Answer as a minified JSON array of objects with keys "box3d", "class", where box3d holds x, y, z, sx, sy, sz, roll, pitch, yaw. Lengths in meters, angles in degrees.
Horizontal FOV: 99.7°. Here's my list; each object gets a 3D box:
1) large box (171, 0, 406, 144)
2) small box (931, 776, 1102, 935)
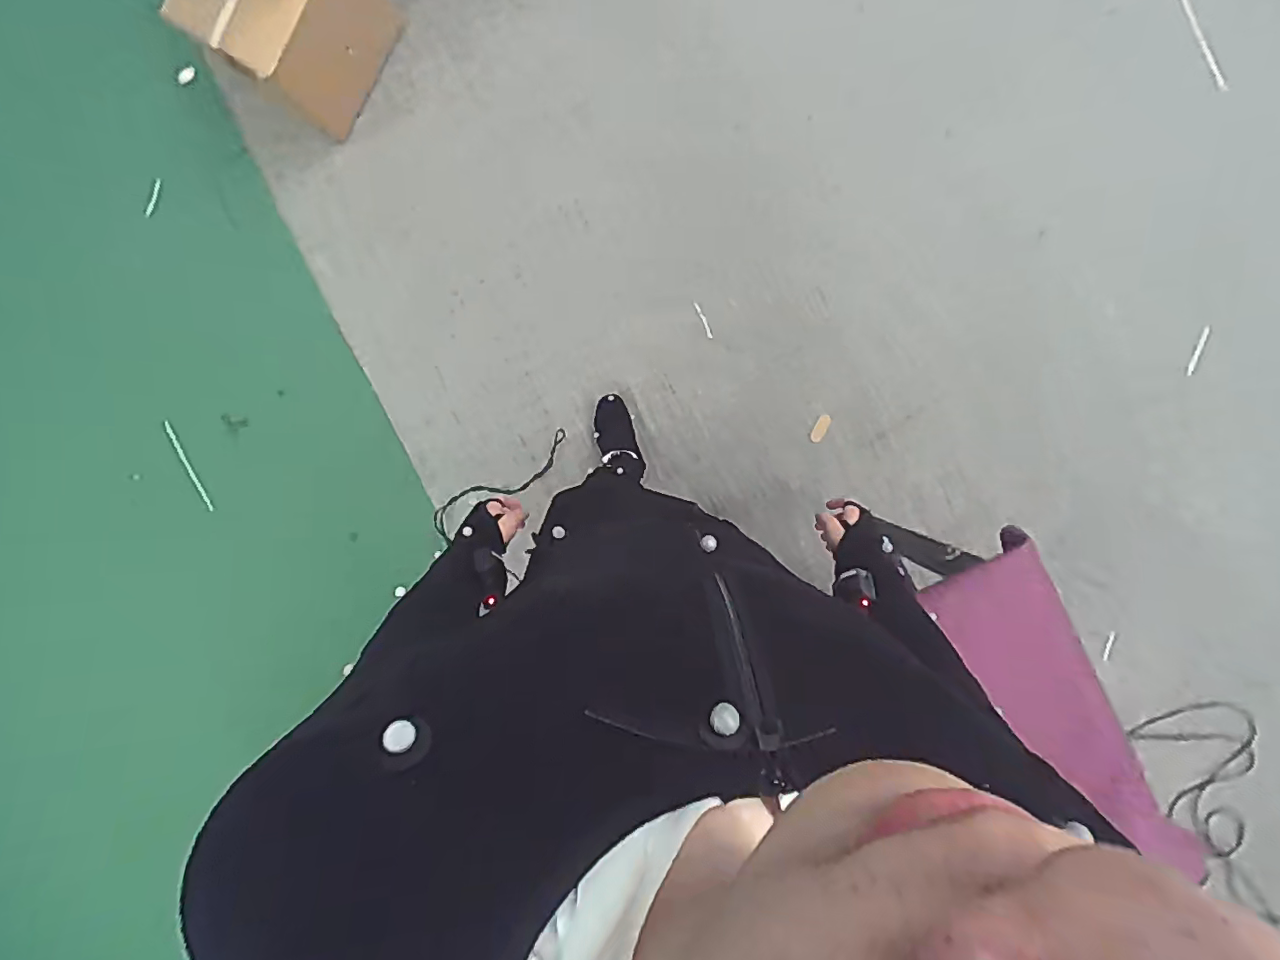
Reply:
[{"box3d":[-0.904,-1.225,1.437,0.320,0.320,0.408,31,96,1],"class":"large box"},{"box3d":[0.594,0.598,0.837,0.168,0.176,0.179,-28,93,4],"class":"small box"}]
